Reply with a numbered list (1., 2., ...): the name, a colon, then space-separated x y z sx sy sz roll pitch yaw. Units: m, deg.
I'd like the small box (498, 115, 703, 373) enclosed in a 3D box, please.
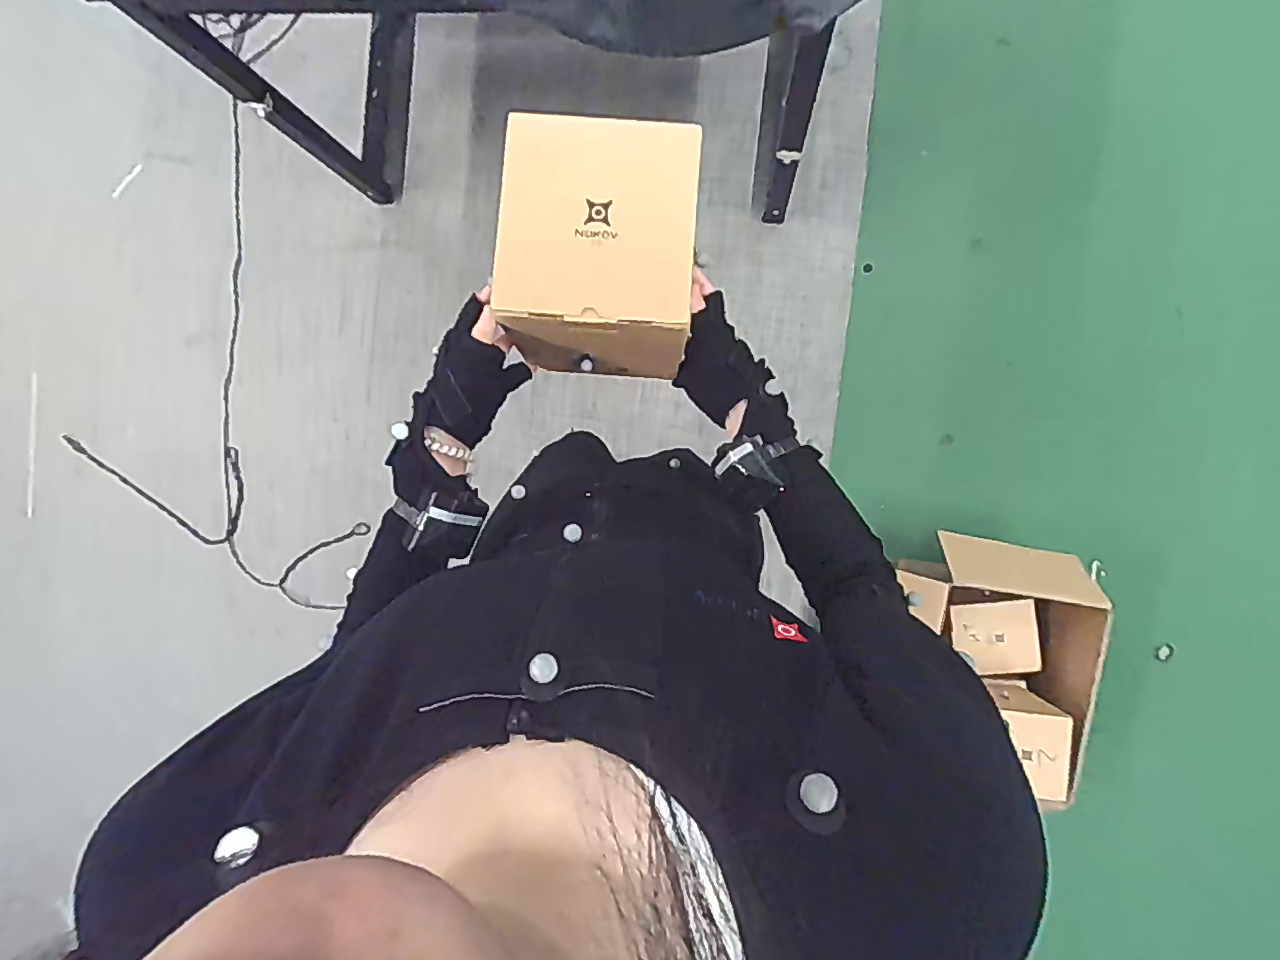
1. small box: -0.034 -0.219 0.543 0.168 0.176 0.179 4 88 0
